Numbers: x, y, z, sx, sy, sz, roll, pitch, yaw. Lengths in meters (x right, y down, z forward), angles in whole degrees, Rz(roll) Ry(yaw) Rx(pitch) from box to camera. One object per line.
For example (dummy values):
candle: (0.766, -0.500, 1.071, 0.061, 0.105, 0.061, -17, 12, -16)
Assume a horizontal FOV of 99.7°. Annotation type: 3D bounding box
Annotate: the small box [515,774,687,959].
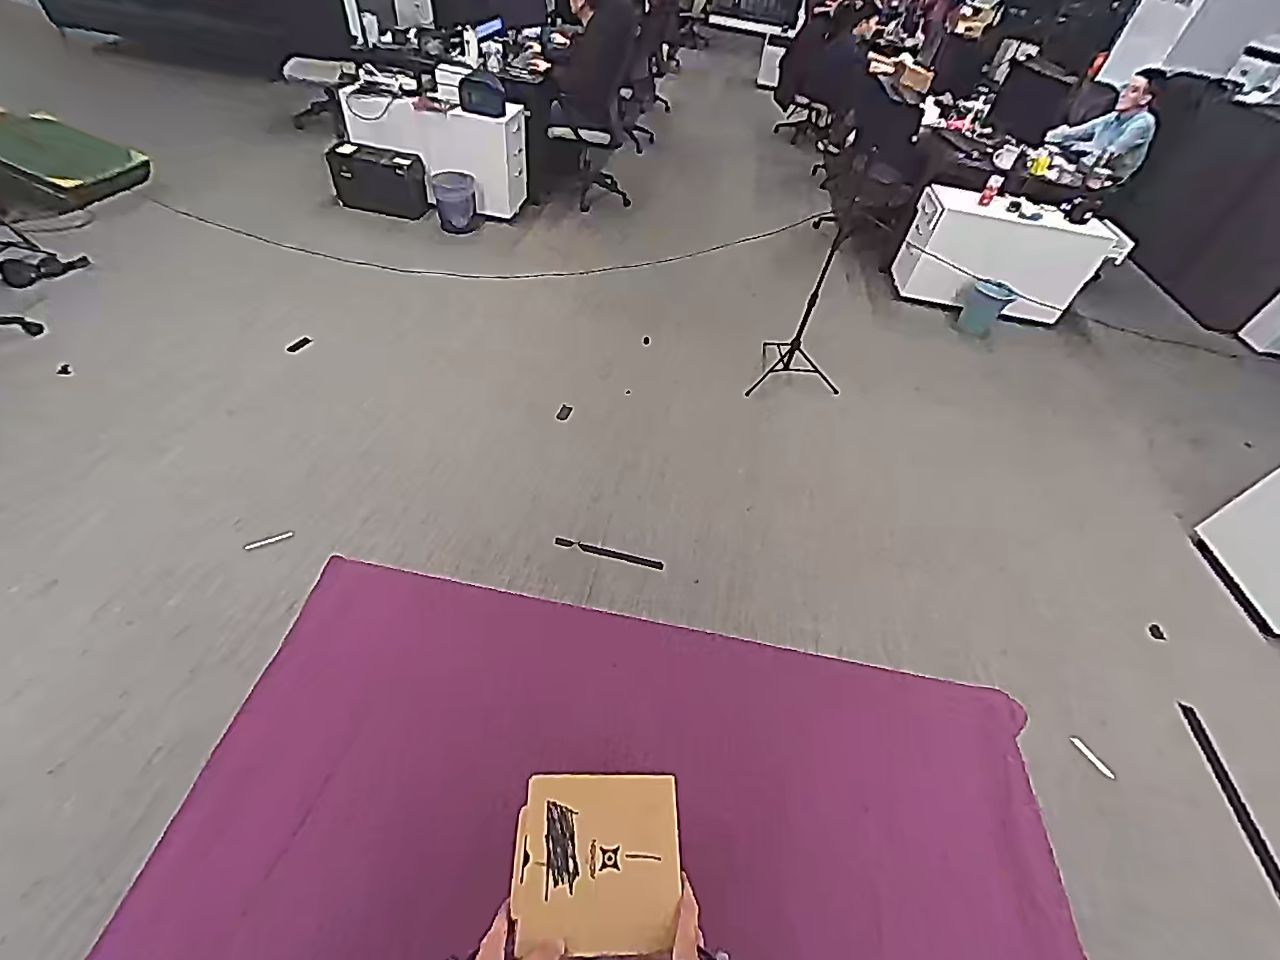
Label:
small box: (-0.047, 0.466, 0.648, 0.179, 0.176, 0.168, 3, 48, -6)
